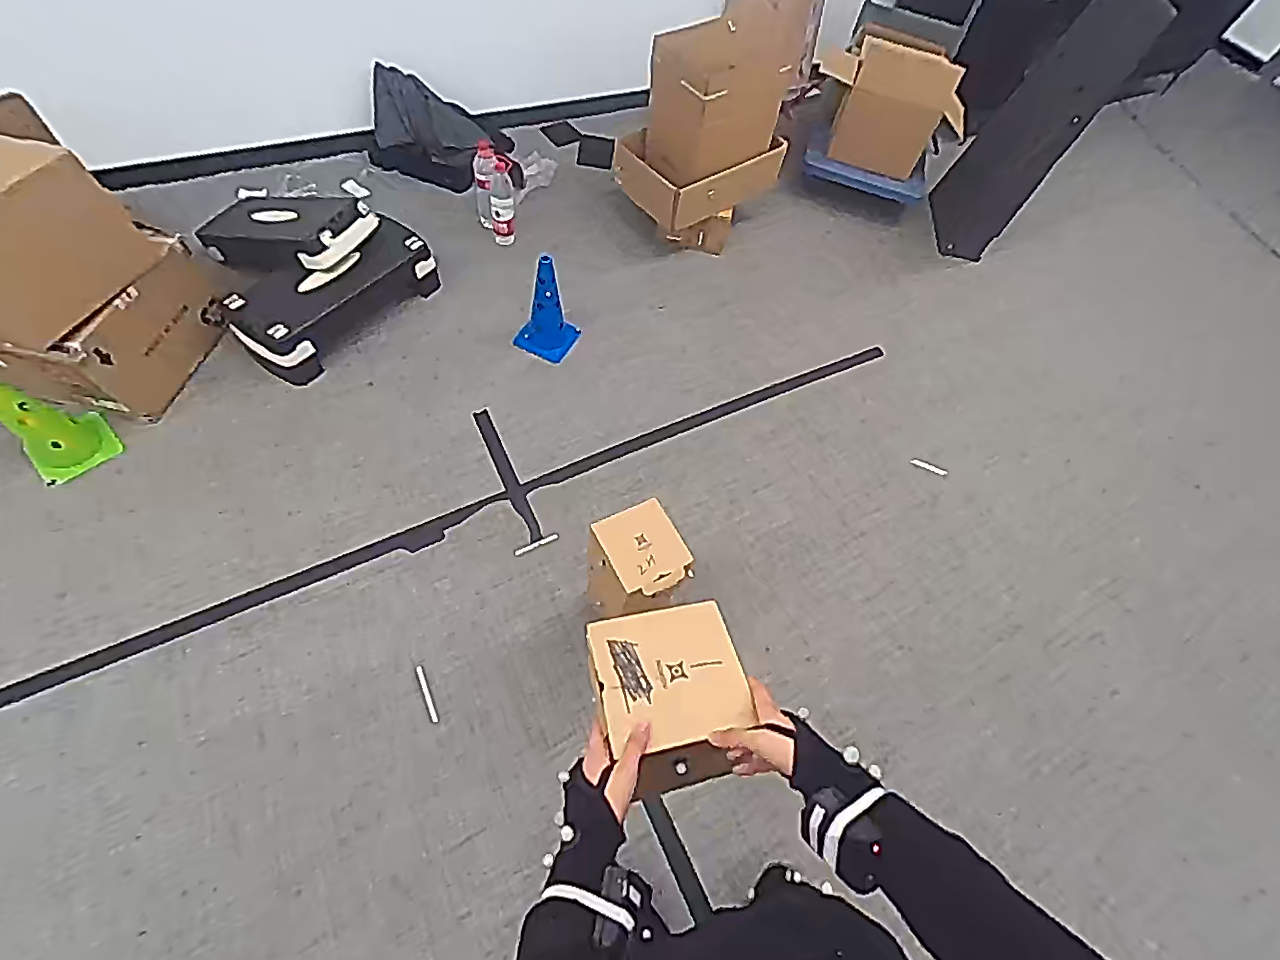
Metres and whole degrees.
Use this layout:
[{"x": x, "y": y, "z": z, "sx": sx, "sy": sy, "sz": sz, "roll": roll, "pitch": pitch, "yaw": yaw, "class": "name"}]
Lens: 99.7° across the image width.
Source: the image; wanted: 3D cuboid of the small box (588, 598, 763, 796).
[{"x": 0.041, "y": 0.283, "z": 0.698, "sx": 0.179, "sy": 0.176, "sz": 0.168, "roll": -12, "pitch": 48, "yaw": -8, "class": "small box"}]

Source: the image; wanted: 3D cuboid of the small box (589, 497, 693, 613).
[{"x": -0.007, "y": 0.172, "z": 1.217, "sx": 0.168, "sy": 0.176, "sz": 0.179, "roll": -23, "pitch": 67, "yaw": -20, "class": "small box"}]

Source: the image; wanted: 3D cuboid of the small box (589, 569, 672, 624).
[{"x": -0.032, "y": 0.319, "z": 1.514, "sx": 0.168, "sy": 0.176, "sz": 0.179, "roll": -27, "pitch": 67, "yaw": -20, "class": "small box"}]
